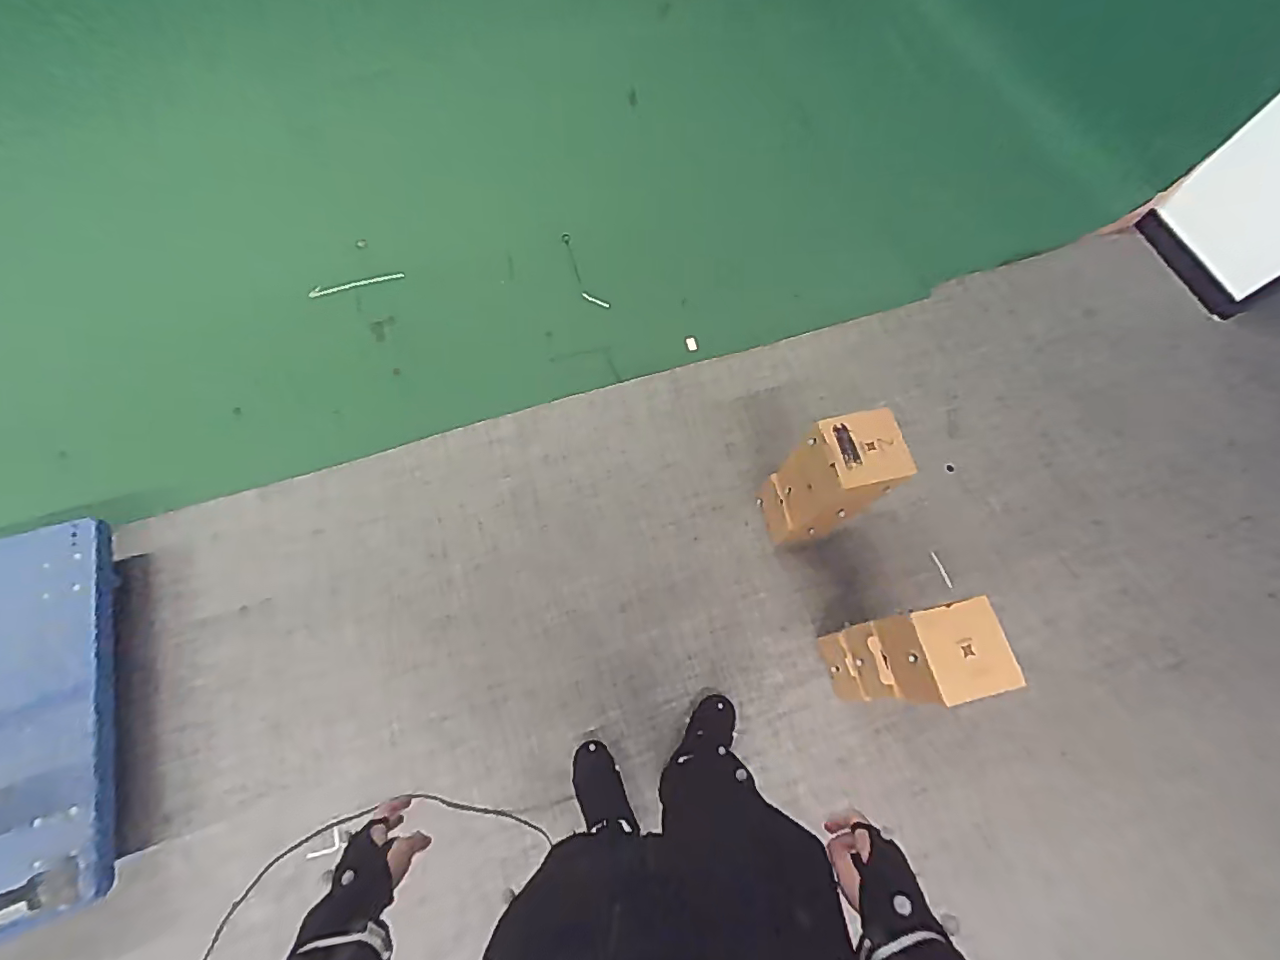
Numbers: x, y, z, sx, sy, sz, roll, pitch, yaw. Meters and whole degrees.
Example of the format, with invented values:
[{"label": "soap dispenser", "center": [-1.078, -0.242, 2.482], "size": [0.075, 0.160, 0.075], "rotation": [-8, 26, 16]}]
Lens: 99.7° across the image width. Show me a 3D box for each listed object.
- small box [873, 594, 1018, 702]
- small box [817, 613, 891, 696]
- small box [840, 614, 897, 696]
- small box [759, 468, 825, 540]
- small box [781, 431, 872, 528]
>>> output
[{"label": "small box", "center": [0.607, 0.346, 1.102], "size": [0.168, 0.176, 0.179], "rotation": [-10, 70, -6]}, {"label": "small box", "center": [0.582, 0.458, 1.409], "size": [0.179, 0.176, 0.168], "rotation": [-14, 71, -7]}, {"label": "small box", "center": [0.599, 0.397, 1.257], "size": [0.179, 0.176, 0.168], "rotation": [-10, 69, -6]}, {"label": "small box", "center": [0.455, 0.064, 1.553], "size": [0.179, 0.176, 0.168], "rotation": [-11, 71, -8]}, {"label": "small box", "center": [0.479, 0.003, 1.411], "size": [0.168, 0.176, 0.179], "rotation": [18, 69, 6]}]
